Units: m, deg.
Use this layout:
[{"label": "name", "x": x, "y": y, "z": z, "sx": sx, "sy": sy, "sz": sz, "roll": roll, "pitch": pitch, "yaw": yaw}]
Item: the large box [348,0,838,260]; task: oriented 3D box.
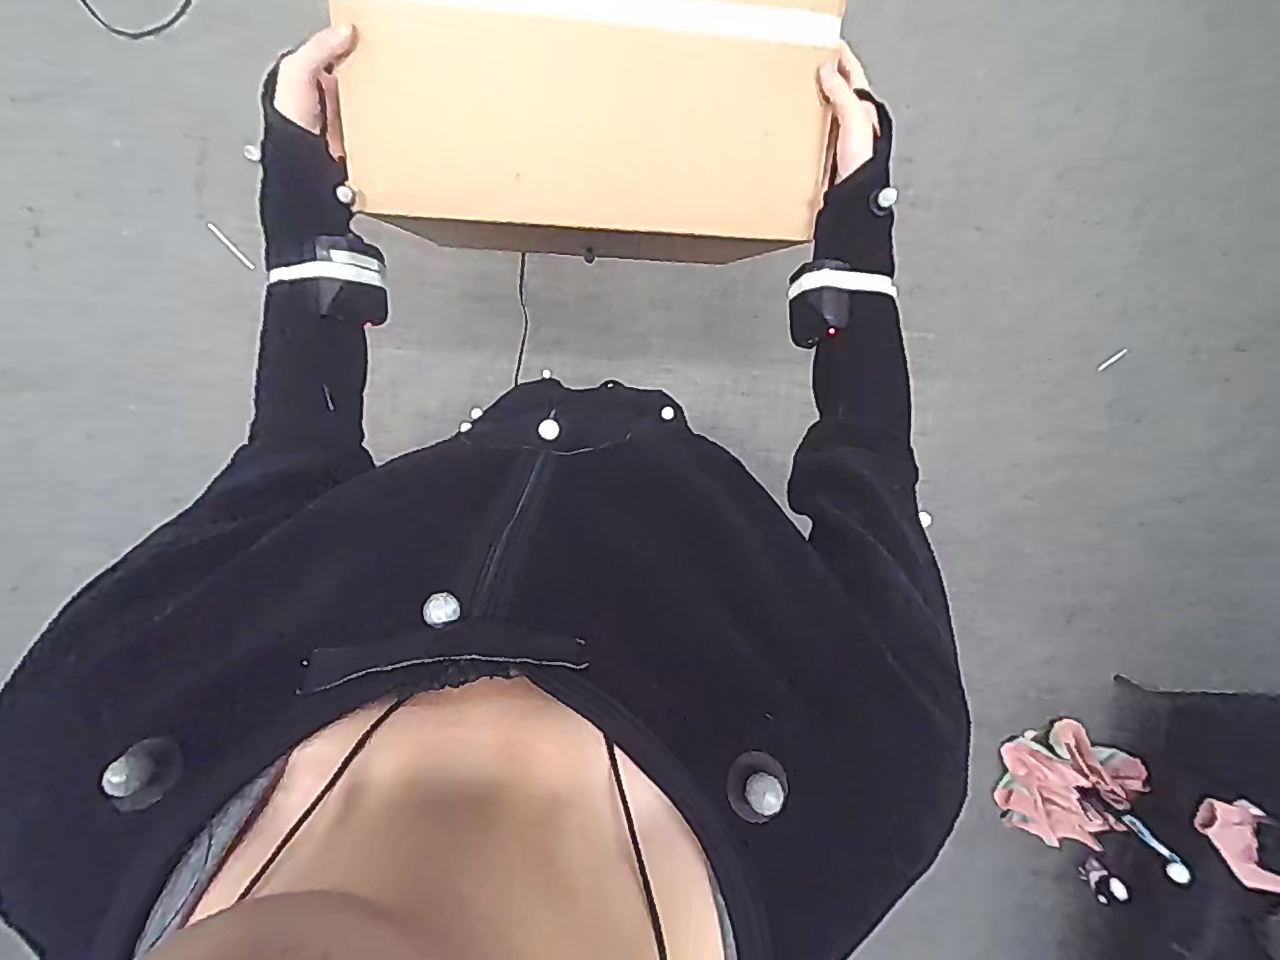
[{"label": "large box", "x": -0.046, "y": -0.417, "z": 0.584, "sx": 0.408, "sy": 0.320, "sz": 0.320, "roll": 0, "pitch": 107, "yaw": -7}]
